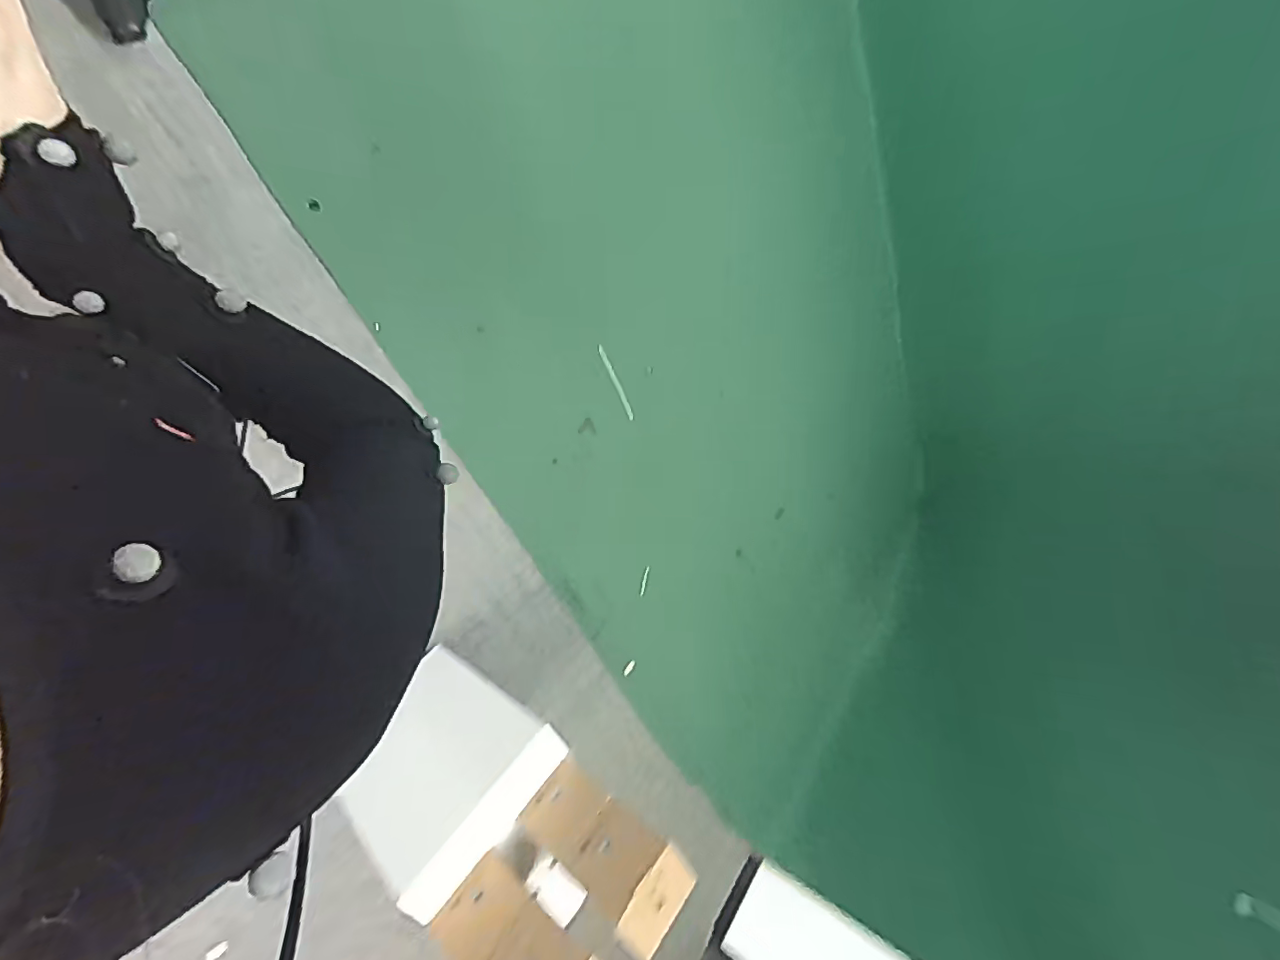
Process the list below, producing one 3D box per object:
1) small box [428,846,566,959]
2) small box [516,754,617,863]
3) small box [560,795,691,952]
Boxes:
[{"bbox_3d":[-0.288,0.892,1.092,0.168,0.176,0.179,-44,125,-32],"label":"small box"},{"bbox_3d":[-0.142,0.756,1.211,0.168,0.176,0.179,-44,125,-29],"label":"small box"},{"bbox_3d":[-0.029,0.784,1.094,0.168,0.176,0.179,-44,125,-31],"label":"small box"}]
